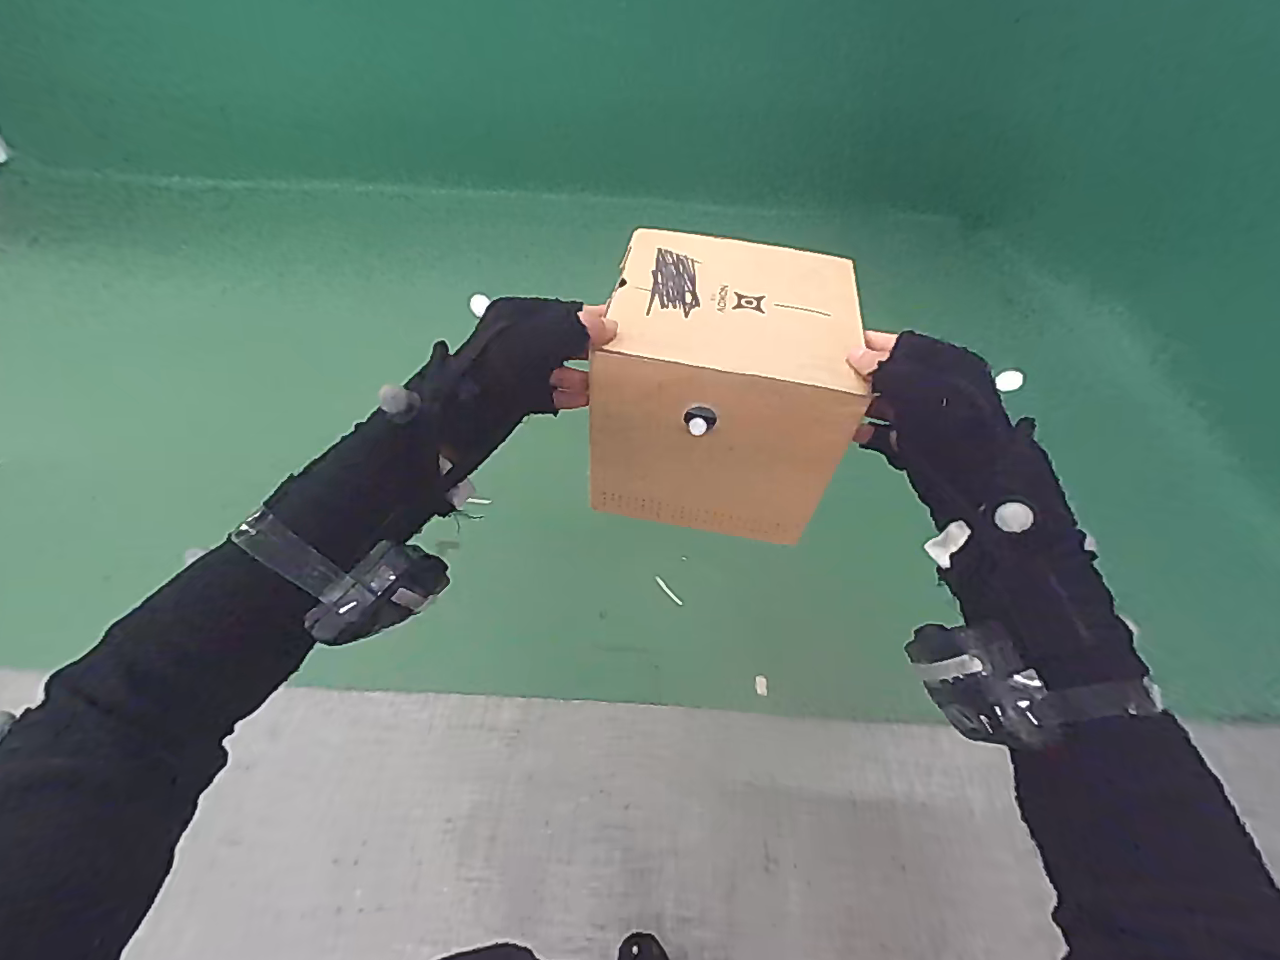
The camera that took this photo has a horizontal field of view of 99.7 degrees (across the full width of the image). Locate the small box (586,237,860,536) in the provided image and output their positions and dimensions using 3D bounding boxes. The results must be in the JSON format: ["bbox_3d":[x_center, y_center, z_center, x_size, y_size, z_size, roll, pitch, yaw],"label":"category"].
[{"bbox_3d":[0.057,-0.072,0.447,0.179,0.176,0.168,10,50,2],"label":"small box"}]
